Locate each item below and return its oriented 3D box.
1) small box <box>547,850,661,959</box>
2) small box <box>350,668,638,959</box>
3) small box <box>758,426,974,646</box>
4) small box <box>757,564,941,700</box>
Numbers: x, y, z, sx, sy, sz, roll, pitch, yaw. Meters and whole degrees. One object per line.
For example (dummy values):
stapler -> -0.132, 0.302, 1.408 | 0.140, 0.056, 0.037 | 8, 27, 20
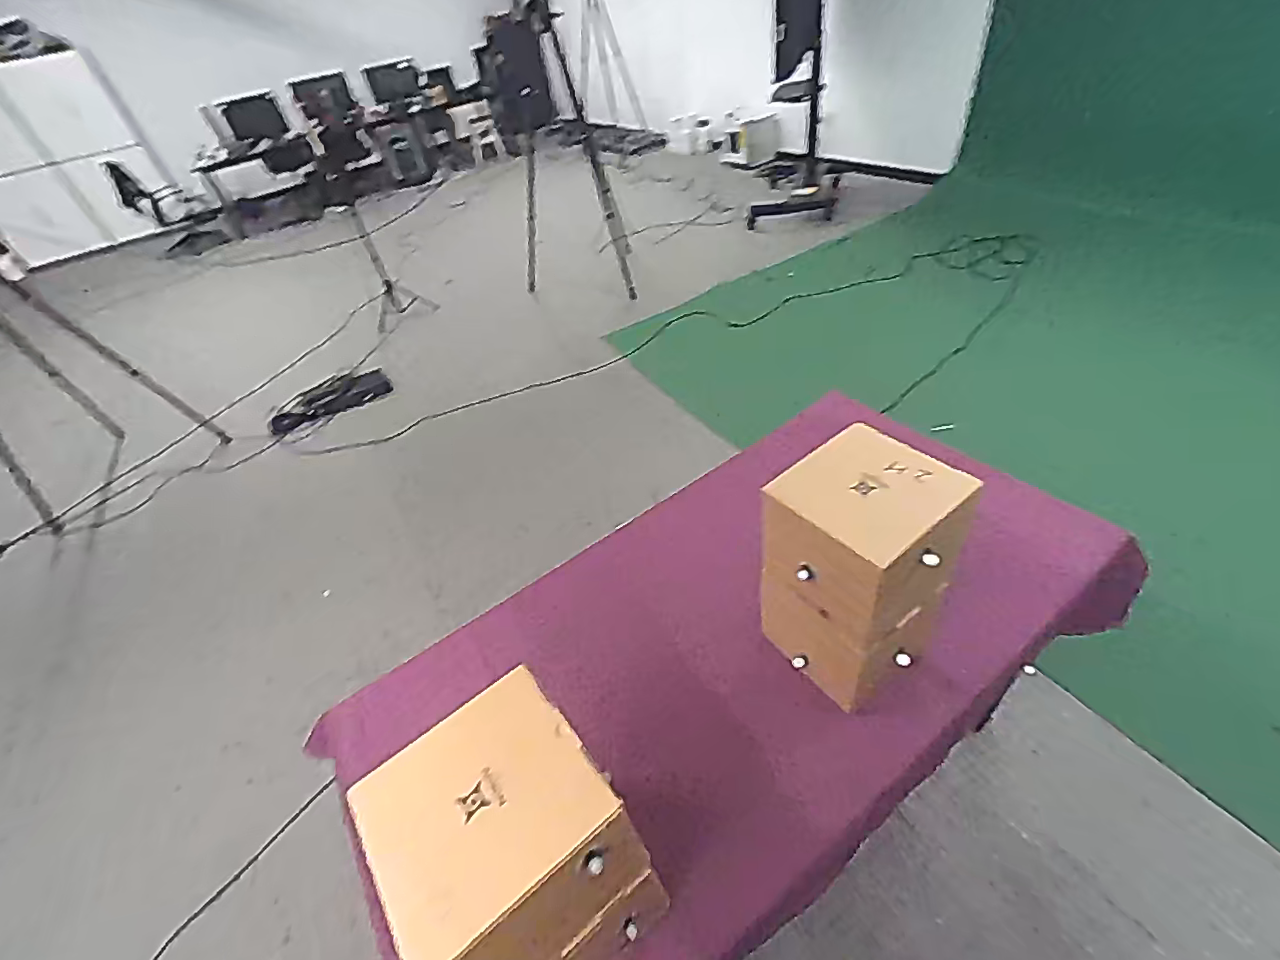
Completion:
small box -> -0.094, 0.436, 0.603 | 0.168, 0.176, 0.179 | -31, 45, -22
small box -> -0.121, 0.320, 0.493 | 0.179, 0.176, 0.168 | -32, 46, -24
small box -> 0.268, 0.069, 0.671 | 0.179, 0.176, 0.168 | -31, 46, -20
small box -> 0.290, 0.189, 0.783 | 0.168, 0.176, 0.179 | -31, 46, -20
